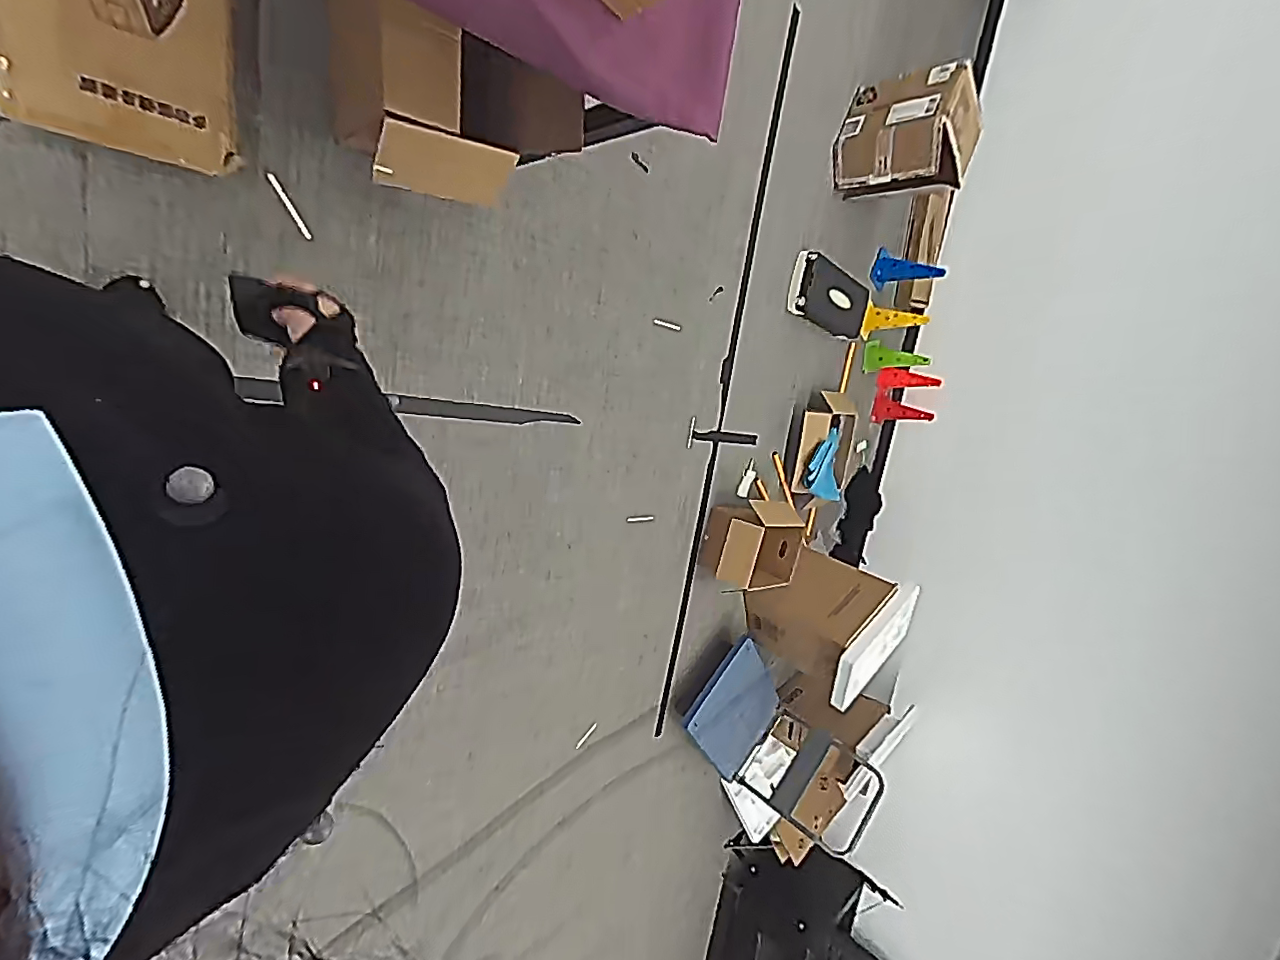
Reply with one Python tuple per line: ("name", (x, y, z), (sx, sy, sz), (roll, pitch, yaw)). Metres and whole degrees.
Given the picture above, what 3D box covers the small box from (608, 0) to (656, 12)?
("small box", (-0.003, -0.791, 0.729), (0.179, 0.176, 0.168), (6, 100, -47))
